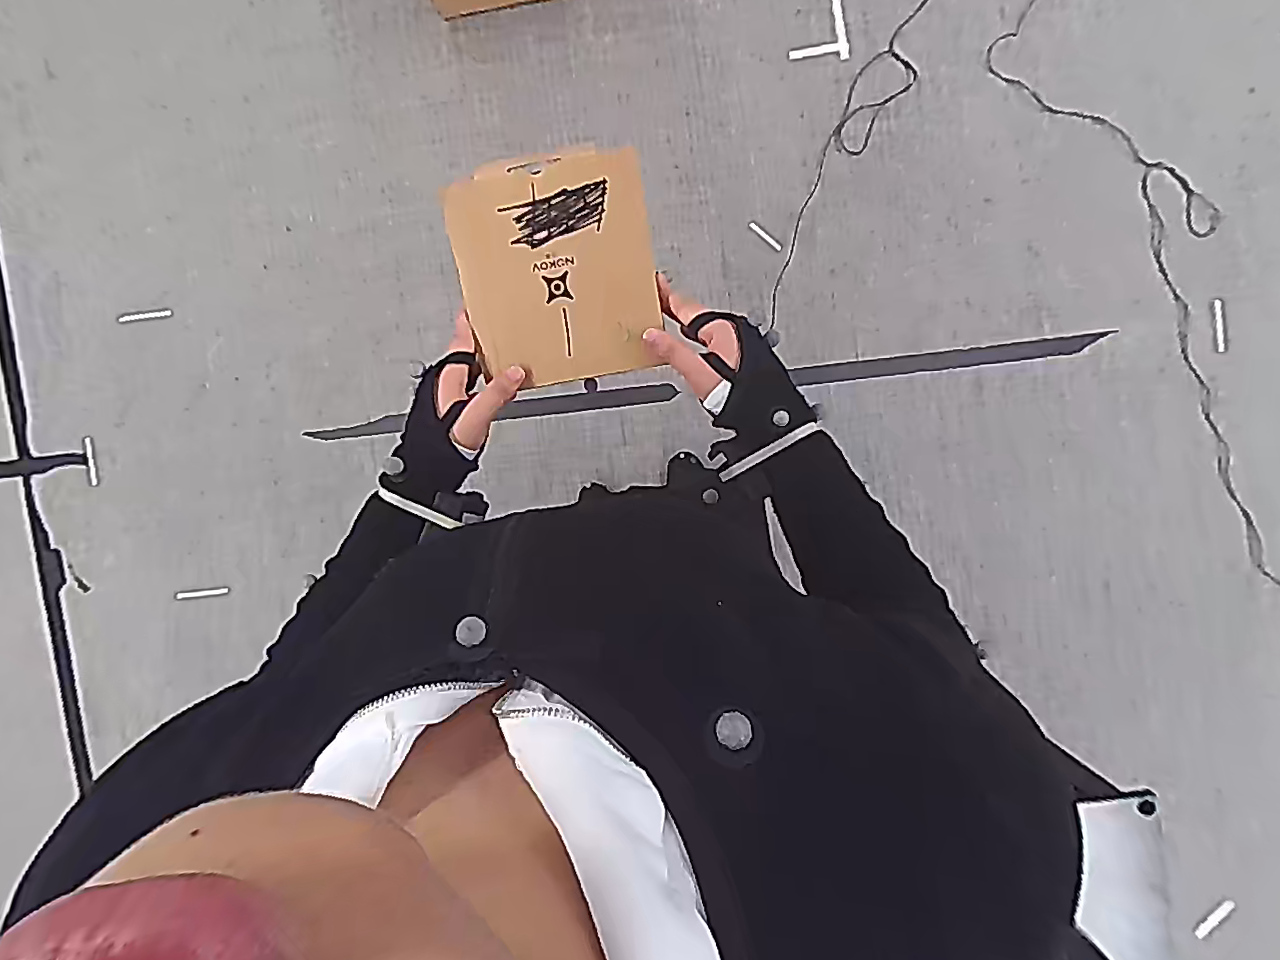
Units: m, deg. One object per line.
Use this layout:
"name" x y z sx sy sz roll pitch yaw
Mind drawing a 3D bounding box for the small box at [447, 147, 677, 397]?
"small box" -0.060 -0.184 0.524 0.168 0.176 0.179 -9 103 5
